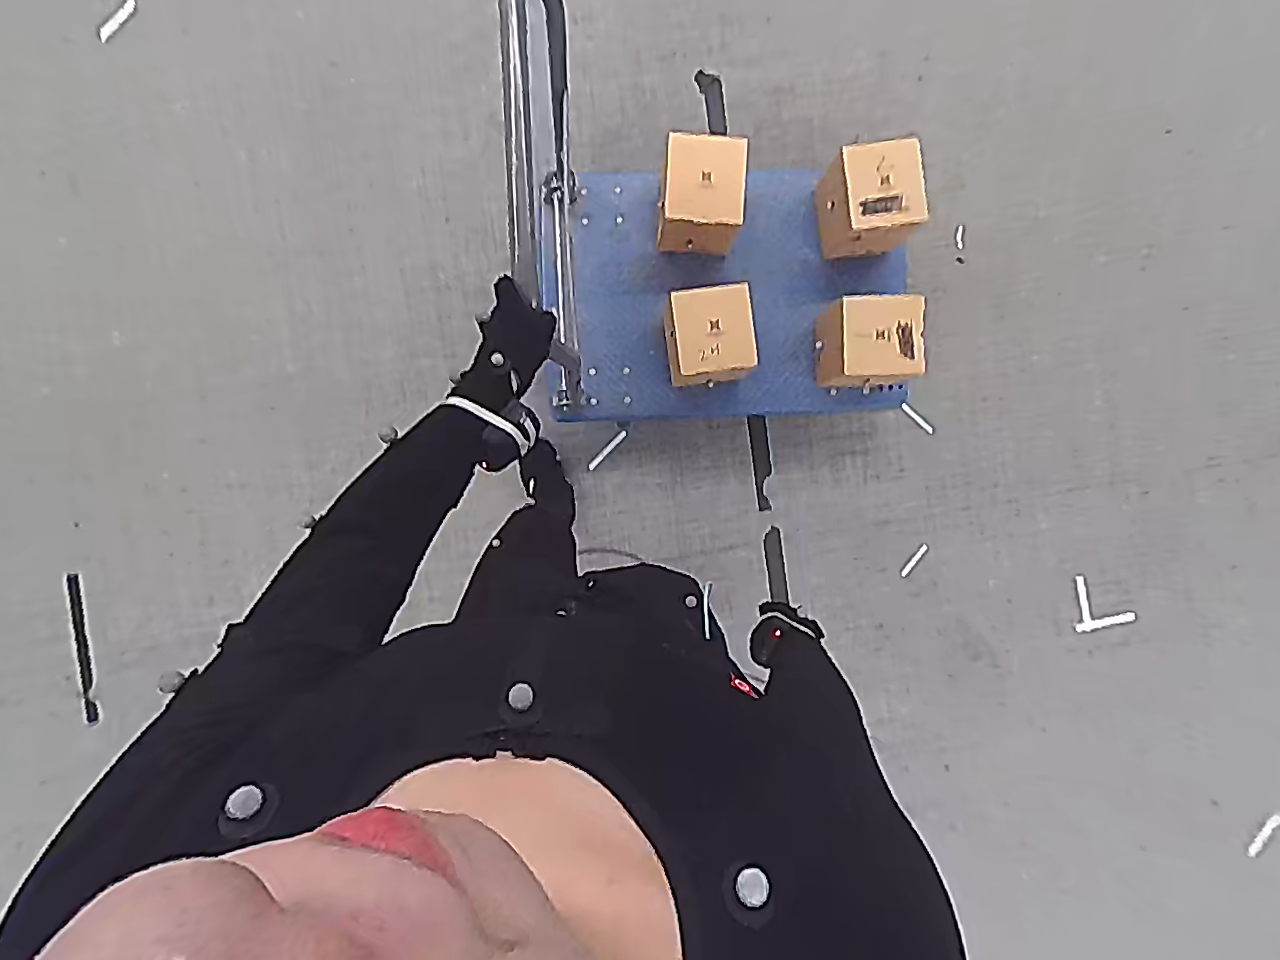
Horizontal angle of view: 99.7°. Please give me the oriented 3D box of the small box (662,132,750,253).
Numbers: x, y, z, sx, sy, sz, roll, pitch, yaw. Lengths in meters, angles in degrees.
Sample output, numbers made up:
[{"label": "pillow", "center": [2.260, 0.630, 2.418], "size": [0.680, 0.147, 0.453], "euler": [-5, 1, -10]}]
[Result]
[{"label": "small box", "center": [0.138, -0.624, 1.190], "size": [0.168, 0.176, 0.179], "euler": [2, 92, -2]}]

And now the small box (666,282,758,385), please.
[{"label": "small box", "center": [0.153, -0.317, 1.200], "size": [0.168, 0.176, 0.179], "euler": [-7, 92, -2]}]

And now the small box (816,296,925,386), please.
[{"label": "small box", "center": [0.511, -0.306, 1.214], "size": [0.179, 0.176, 0.168], "euler": [-1, 91, -1]}]
